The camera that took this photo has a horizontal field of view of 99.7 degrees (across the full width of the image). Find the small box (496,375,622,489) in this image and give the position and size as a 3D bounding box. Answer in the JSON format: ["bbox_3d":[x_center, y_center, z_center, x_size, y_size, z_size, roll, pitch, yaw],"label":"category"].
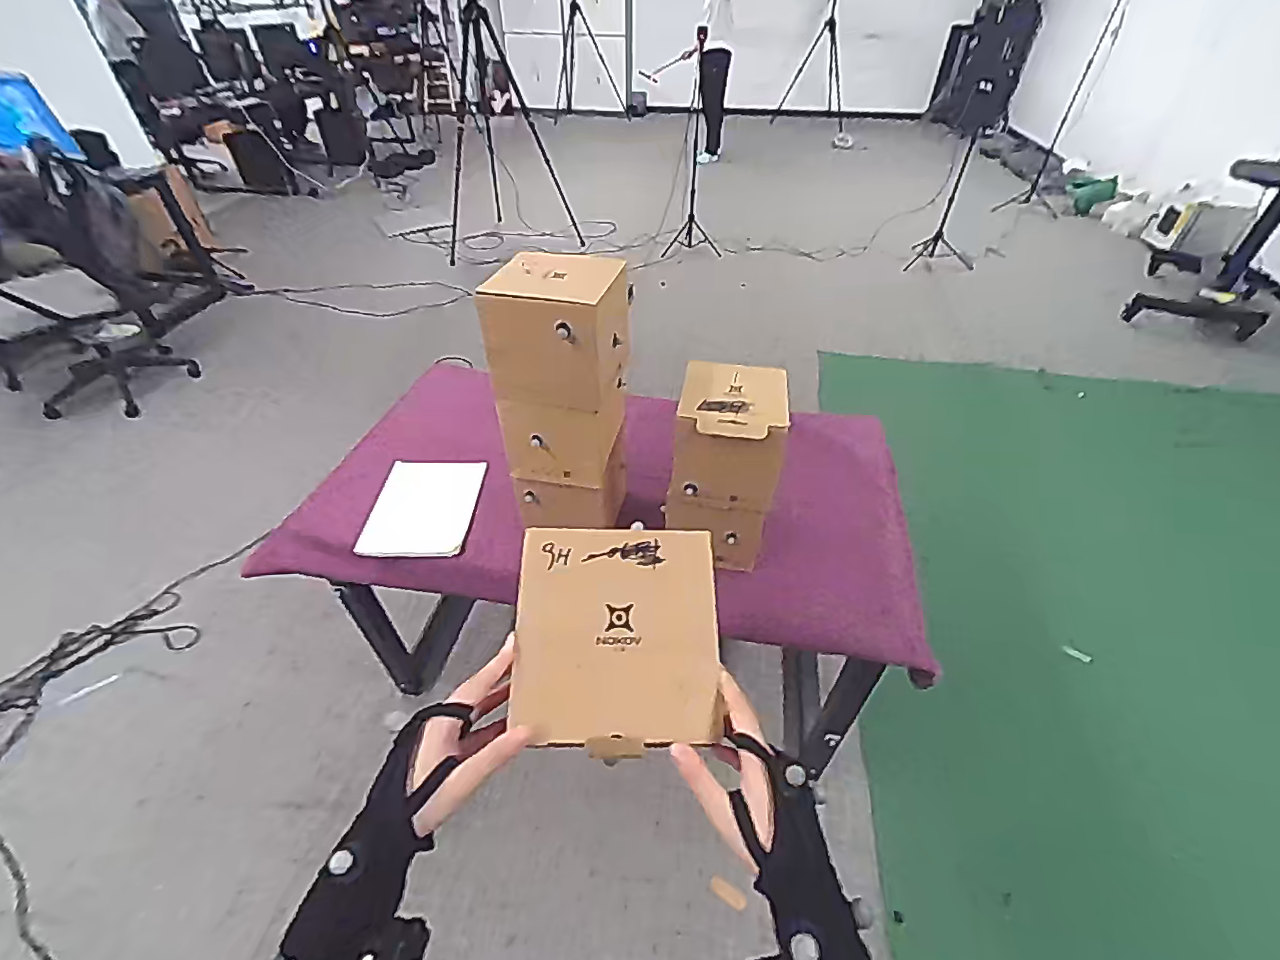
[{"bbox_3d":[-0.127,-0.105,0.935,0.168,0.176,0.179,8,41,8],"label":"small box"}]

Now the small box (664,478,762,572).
[{"bbox_3d":[0.139,0.049,1.012,0.168,0.176,0.179,9,42,8],"label":"small box"}]

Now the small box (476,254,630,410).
[{"bbox_3d":[-0.119,-0.223,0.820,0.179,0.176,0.168,9,41,10],"label":"small box"}]

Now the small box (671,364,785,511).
[{"bbox_3d":[0.145,-0.070,0.900,0.168,0.176,0.179,8,41,7],"label":"small box"}]
